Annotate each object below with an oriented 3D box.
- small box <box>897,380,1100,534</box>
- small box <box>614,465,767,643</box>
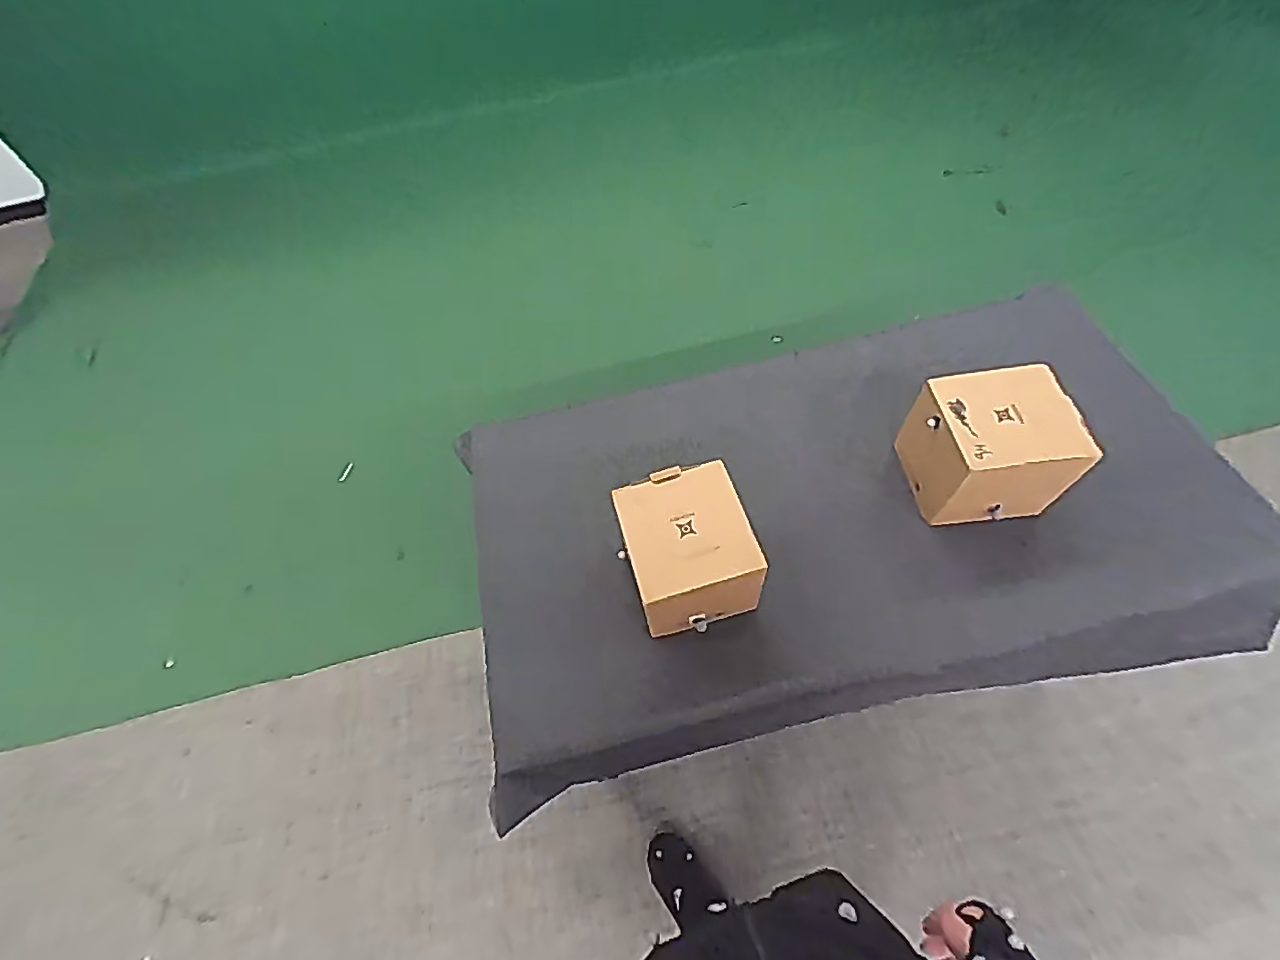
[{"bbox_3d":[0.527,-0.030,0.827,0.179,0.176,0.168,-6,58,2],"label":"small box"},{"bbox_3d":[0.068,0.110,0.772,0.168,0.176,0.179,-15,58,-1],"label":"small box"}]
